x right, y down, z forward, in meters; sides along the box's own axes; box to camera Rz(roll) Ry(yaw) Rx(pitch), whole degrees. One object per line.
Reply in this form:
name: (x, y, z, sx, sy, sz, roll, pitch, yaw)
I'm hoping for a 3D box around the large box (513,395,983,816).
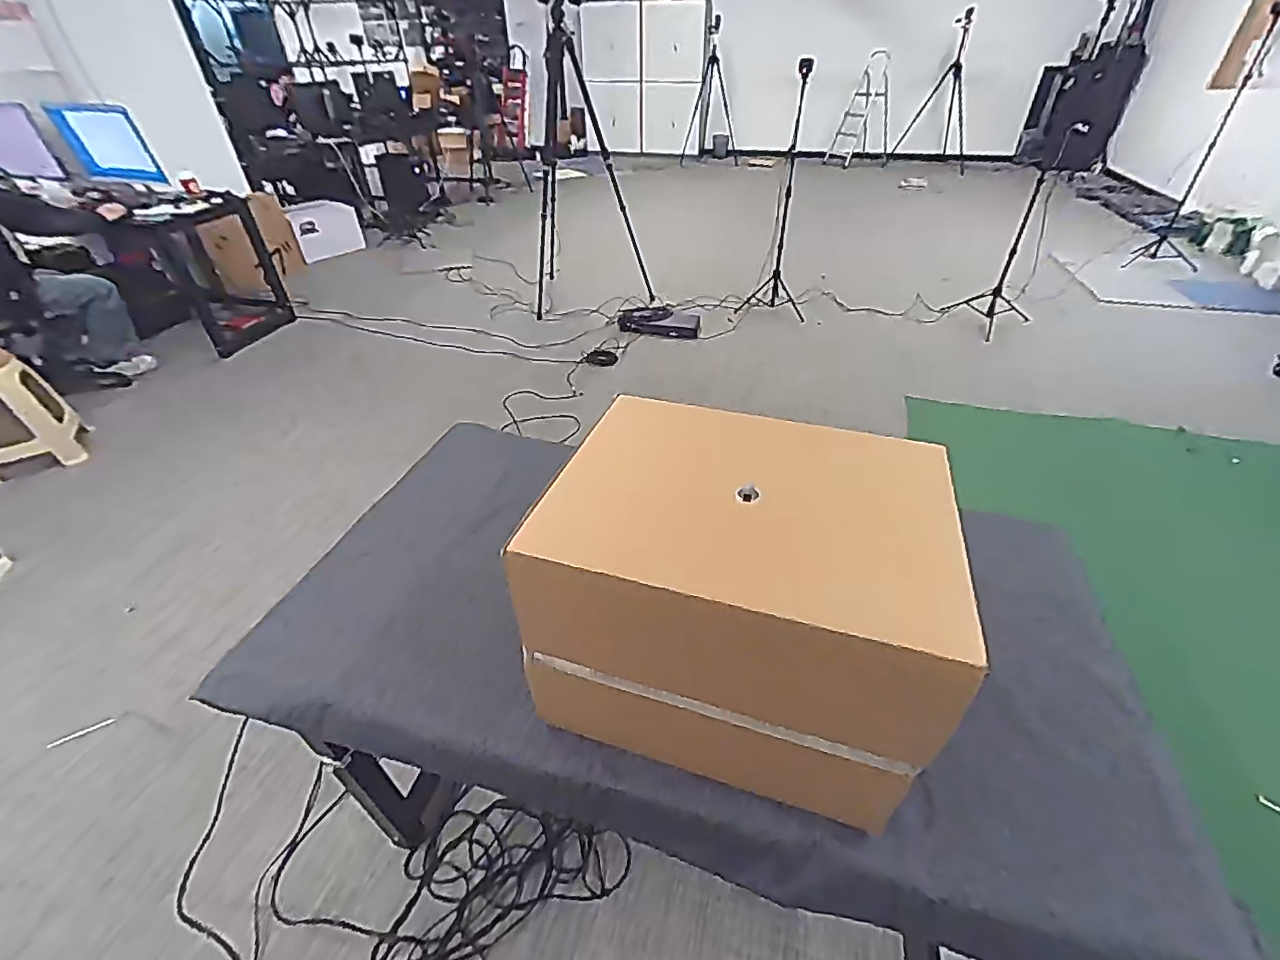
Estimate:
large box: (0.114, 0.132, 0.652, 0.408, 0.320, 0.320, 11, 39, 13)
